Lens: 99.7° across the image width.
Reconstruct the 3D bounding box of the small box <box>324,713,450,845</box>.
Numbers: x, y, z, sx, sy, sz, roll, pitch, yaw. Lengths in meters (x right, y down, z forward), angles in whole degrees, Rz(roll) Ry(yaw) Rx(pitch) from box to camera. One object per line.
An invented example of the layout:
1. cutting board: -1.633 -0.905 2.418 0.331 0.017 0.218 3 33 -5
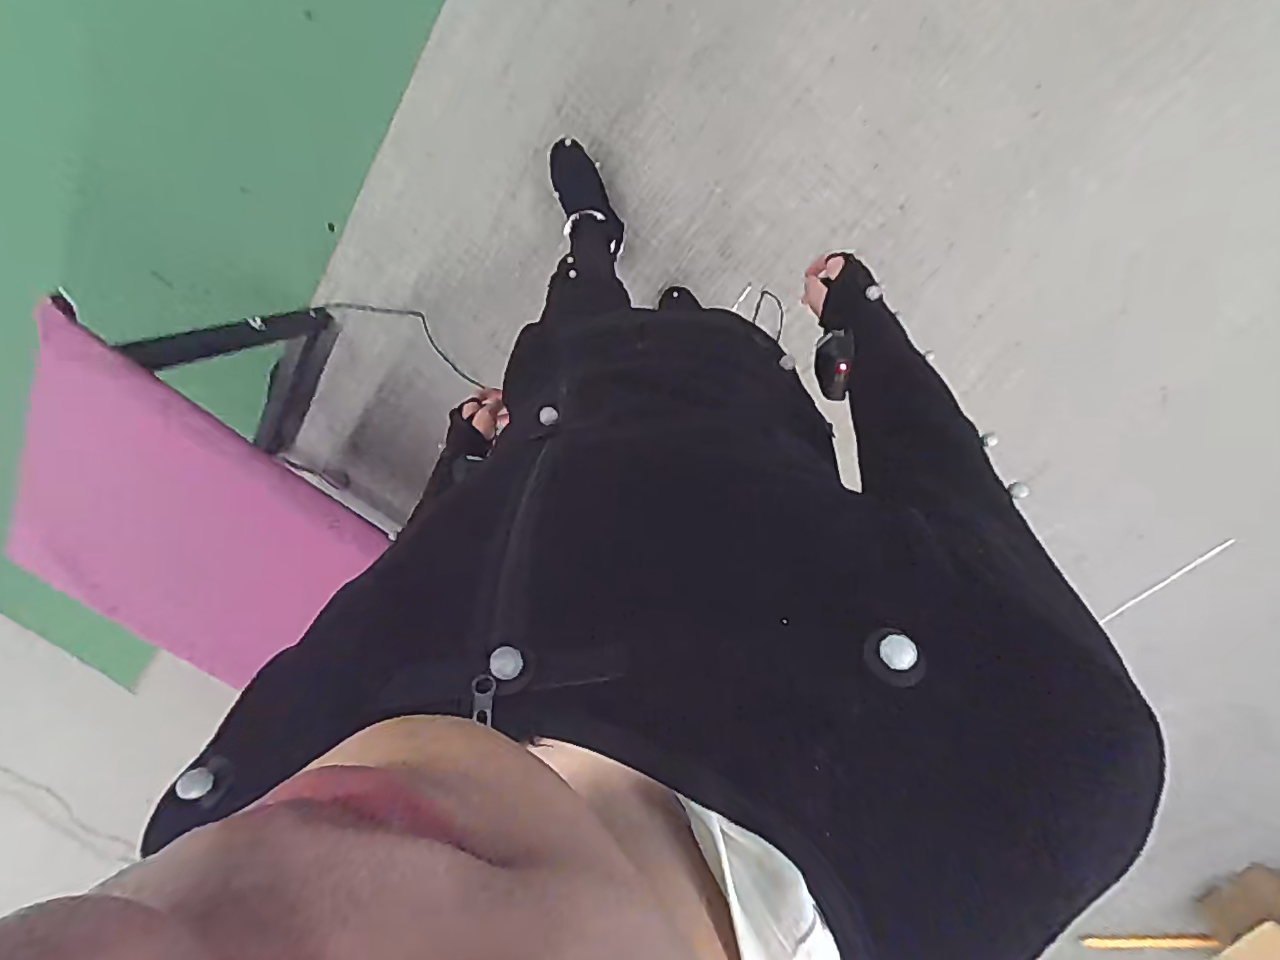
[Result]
1. small box: -0.556 0.662 1.212 0.168 0.176 0.179 37 115 -8
